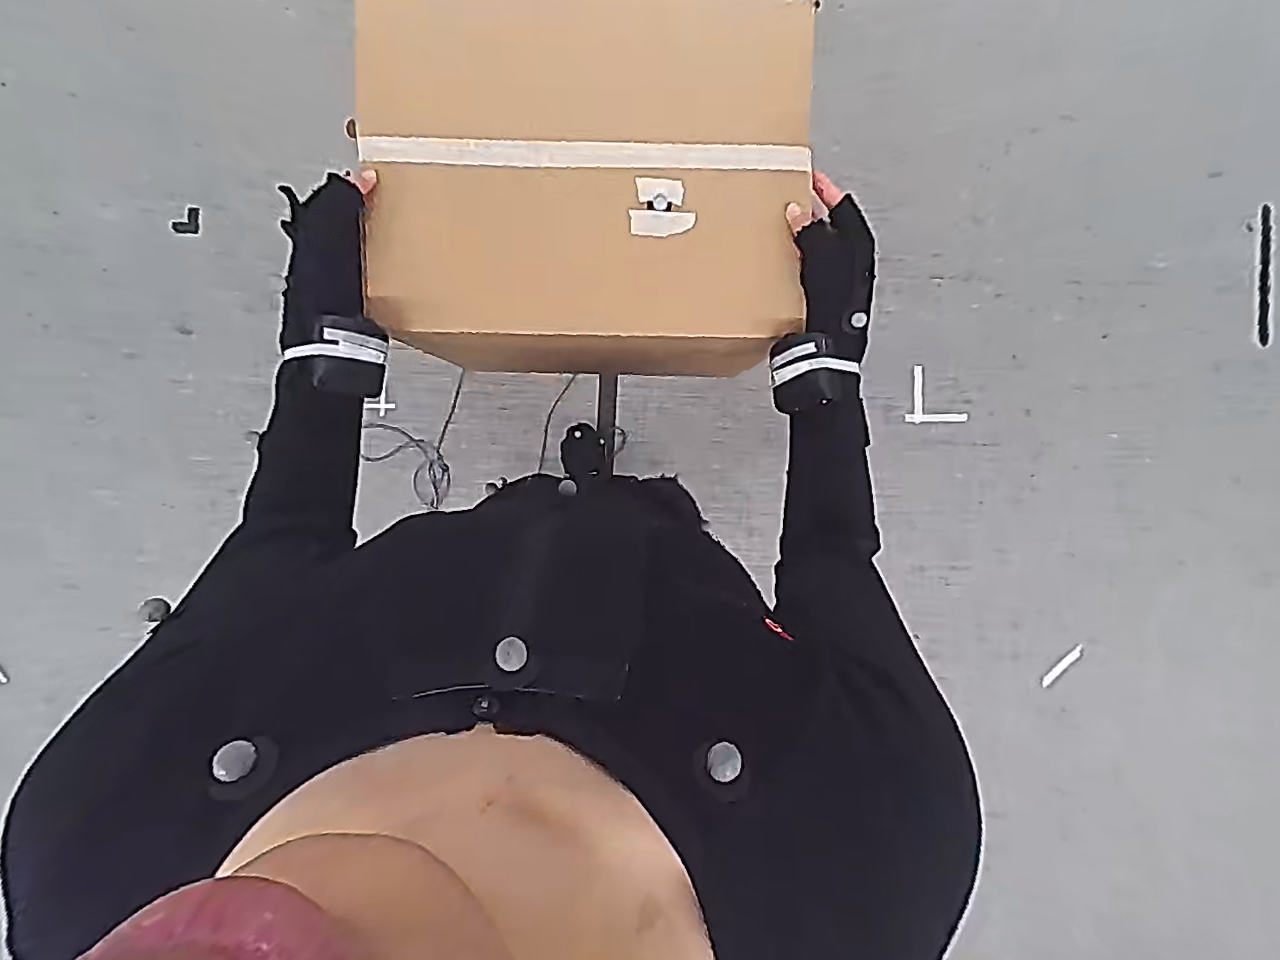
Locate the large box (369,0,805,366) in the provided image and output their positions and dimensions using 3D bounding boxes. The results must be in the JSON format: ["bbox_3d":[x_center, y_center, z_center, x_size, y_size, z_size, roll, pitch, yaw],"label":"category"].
[{"bbox_3d":[-0.053,-0.313,0.650,0.408,0.320,0.320,0,96,-2],"label":"large box"}]
